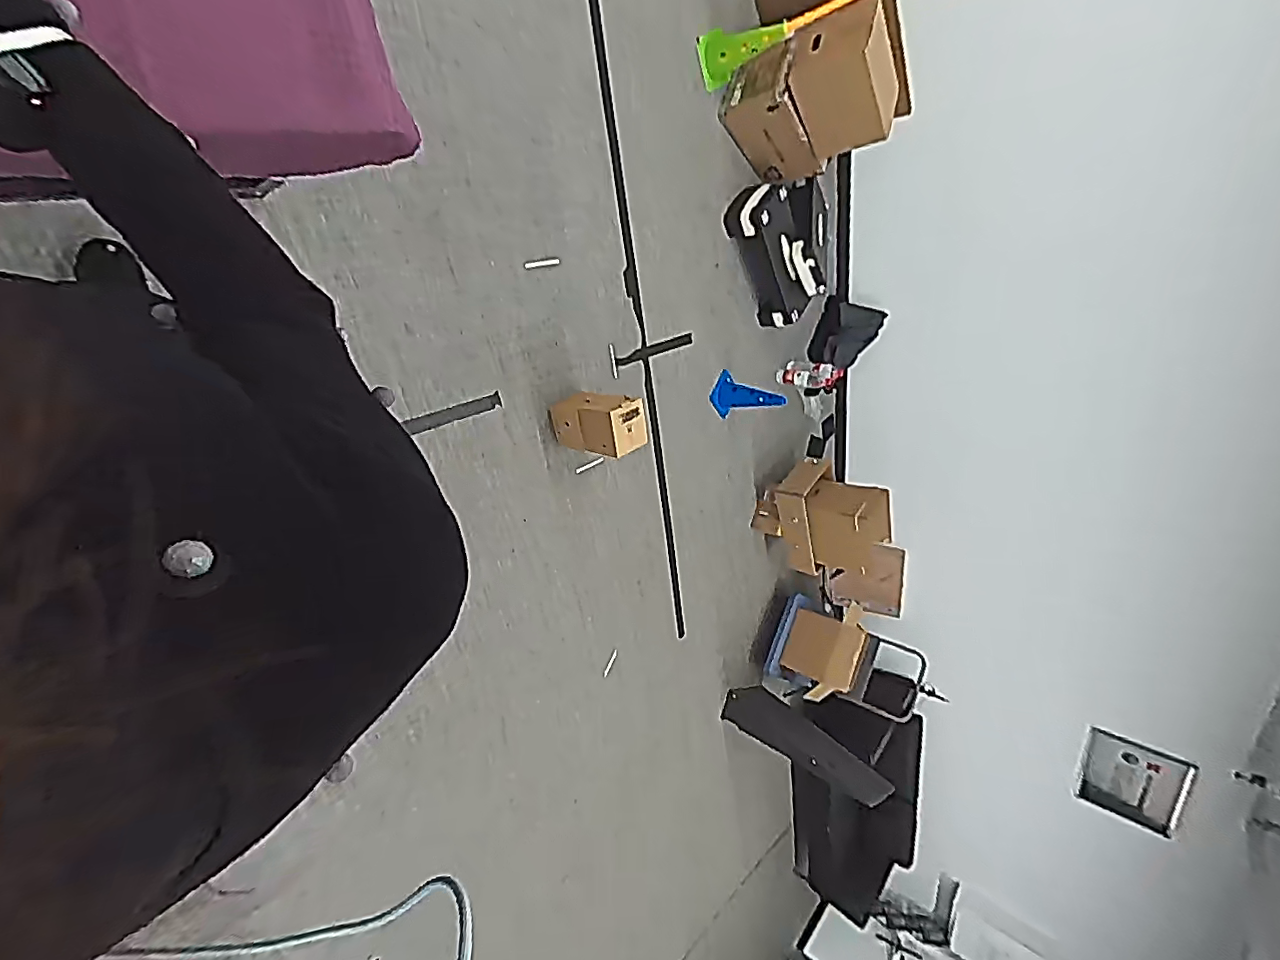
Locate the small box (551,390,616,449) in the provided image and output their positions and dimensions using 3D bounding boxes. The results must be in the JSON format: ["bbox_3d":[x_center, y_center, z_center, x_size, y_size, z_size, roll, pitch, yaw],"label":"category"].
[{"bbox_3d":[-0.223,-0.236,2.076,0.179,0.176,0.168,-34,125,-37],"label":"small box"}]
